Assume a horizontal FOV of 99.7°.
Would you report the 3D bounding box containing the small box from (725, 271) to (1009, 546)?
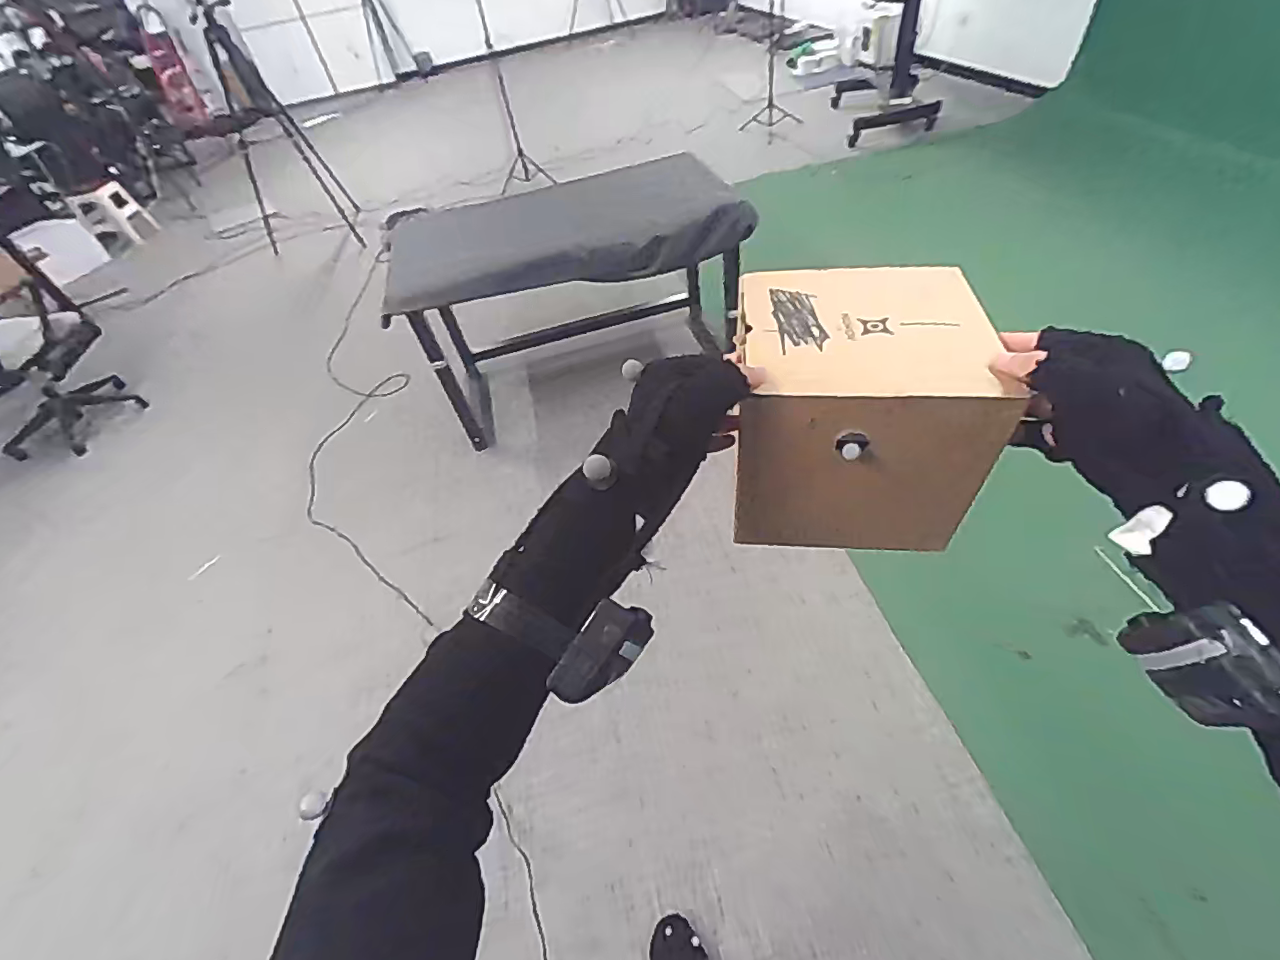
[{"bbox_3d":[0.163,-0.058,0.461,0.179,0.176,0.168,2,49,7],"label":"small box"}]
